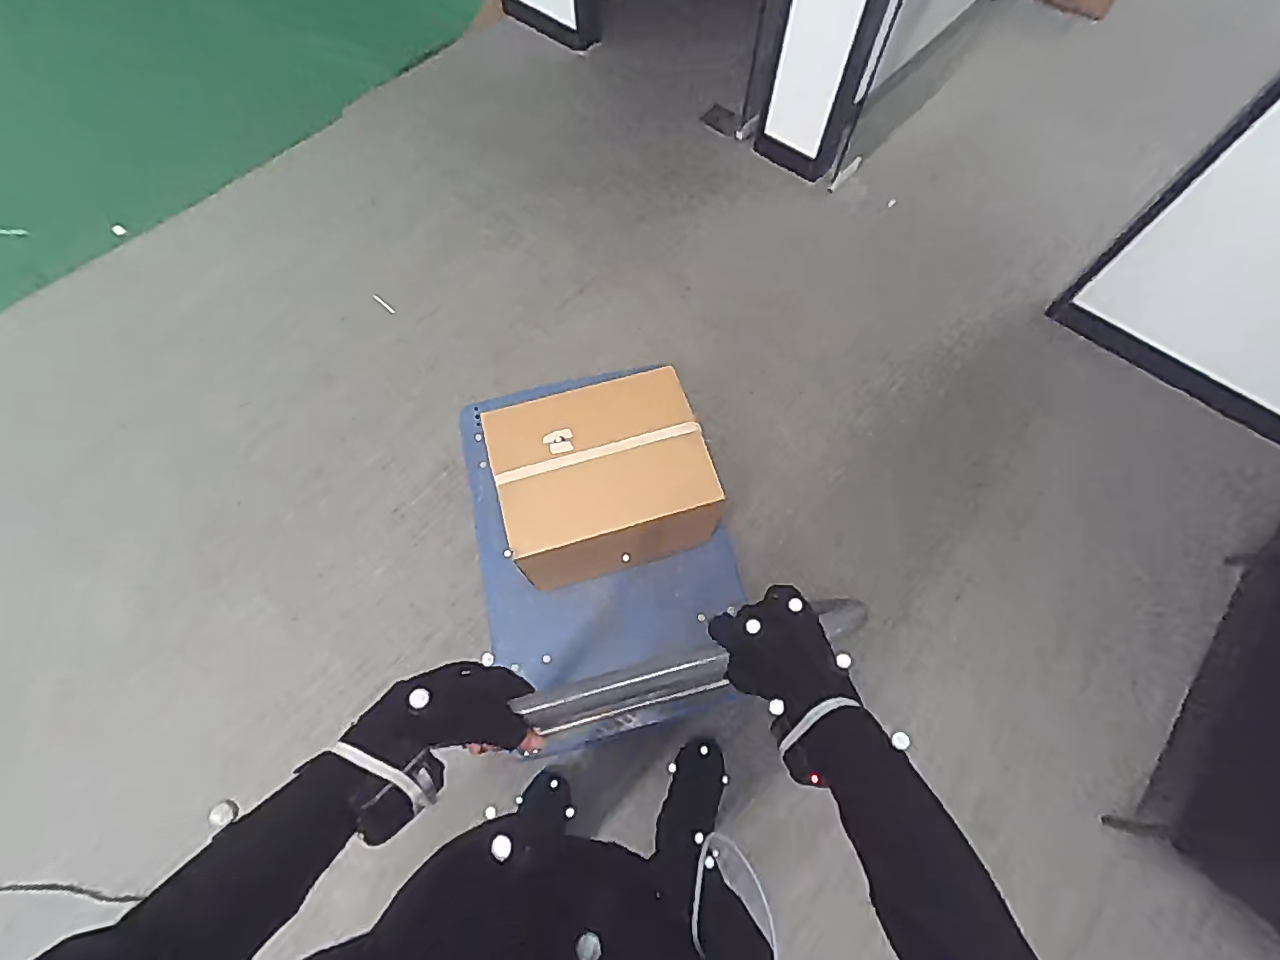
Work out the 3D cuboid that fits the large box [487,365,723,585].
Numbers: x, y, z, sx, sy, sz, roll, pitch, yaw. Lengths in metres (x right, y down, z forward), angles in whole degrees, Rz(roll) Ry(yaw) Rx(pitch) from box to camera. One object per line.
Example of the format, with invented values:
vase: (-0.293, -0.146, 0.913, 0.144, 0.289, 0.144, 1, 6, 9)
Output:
large box: (-0.073, 0.003, 1.189, 0.408, 0.320, 0.320, -16, 68, -6)
